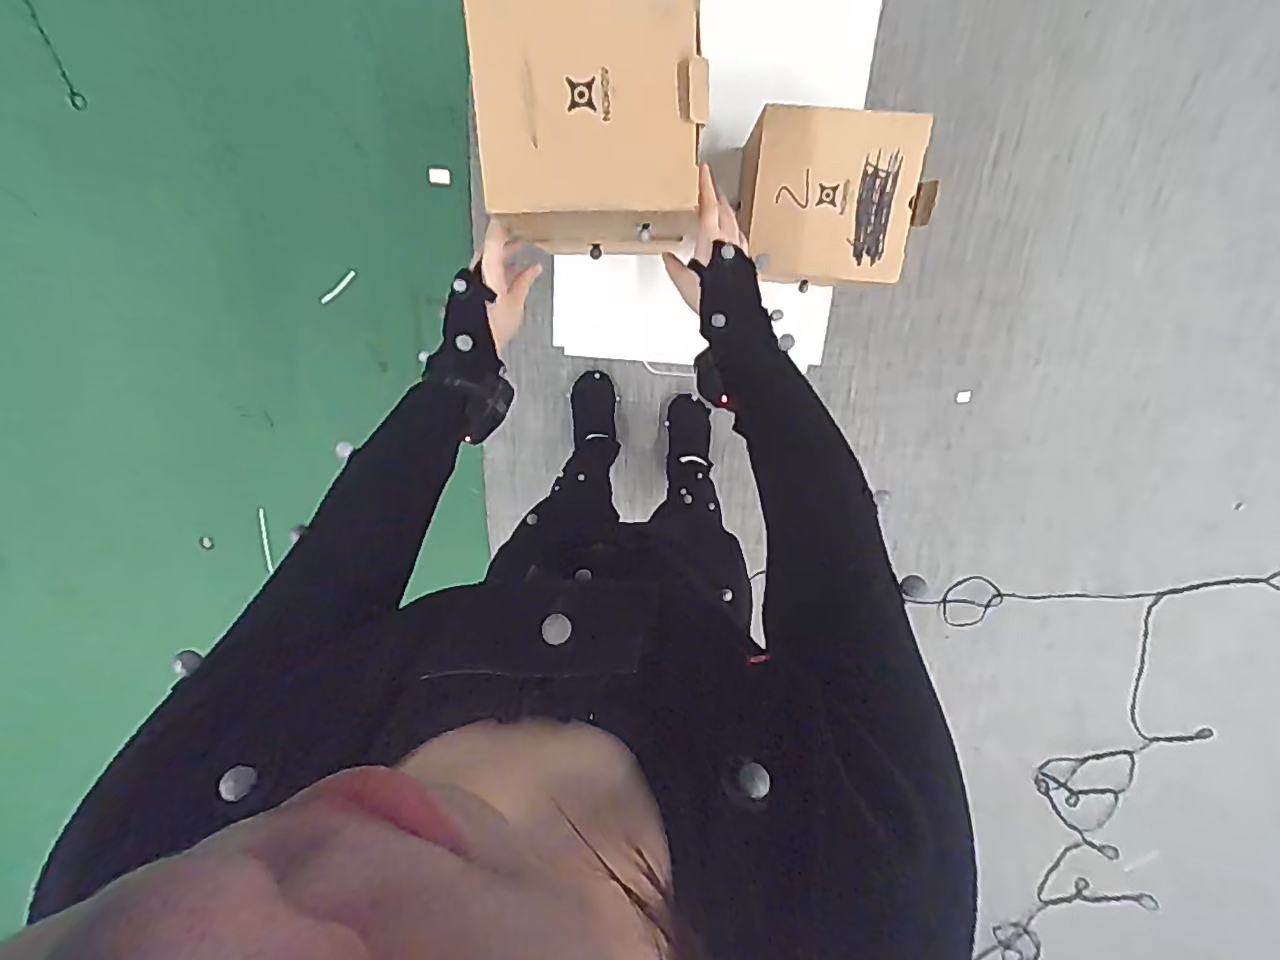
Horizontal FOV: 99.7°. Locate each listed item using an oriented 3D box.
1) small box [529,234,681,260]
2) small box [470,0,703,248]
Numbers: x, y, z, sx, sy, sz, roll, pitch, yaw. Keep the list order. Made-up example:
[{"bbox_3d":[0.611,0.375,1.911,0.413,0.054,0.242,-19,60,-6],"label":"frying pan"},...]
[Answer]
[{"bbox_3d":[-0.039,-0.362,0.656,0.179,0.176,0.168,0,108,0],"label":"small box"},{"bbox_3d":[-0.039,-0.314,0.499,0.179,0.176,0.168,-2,107,1],"label":"small box"}]
